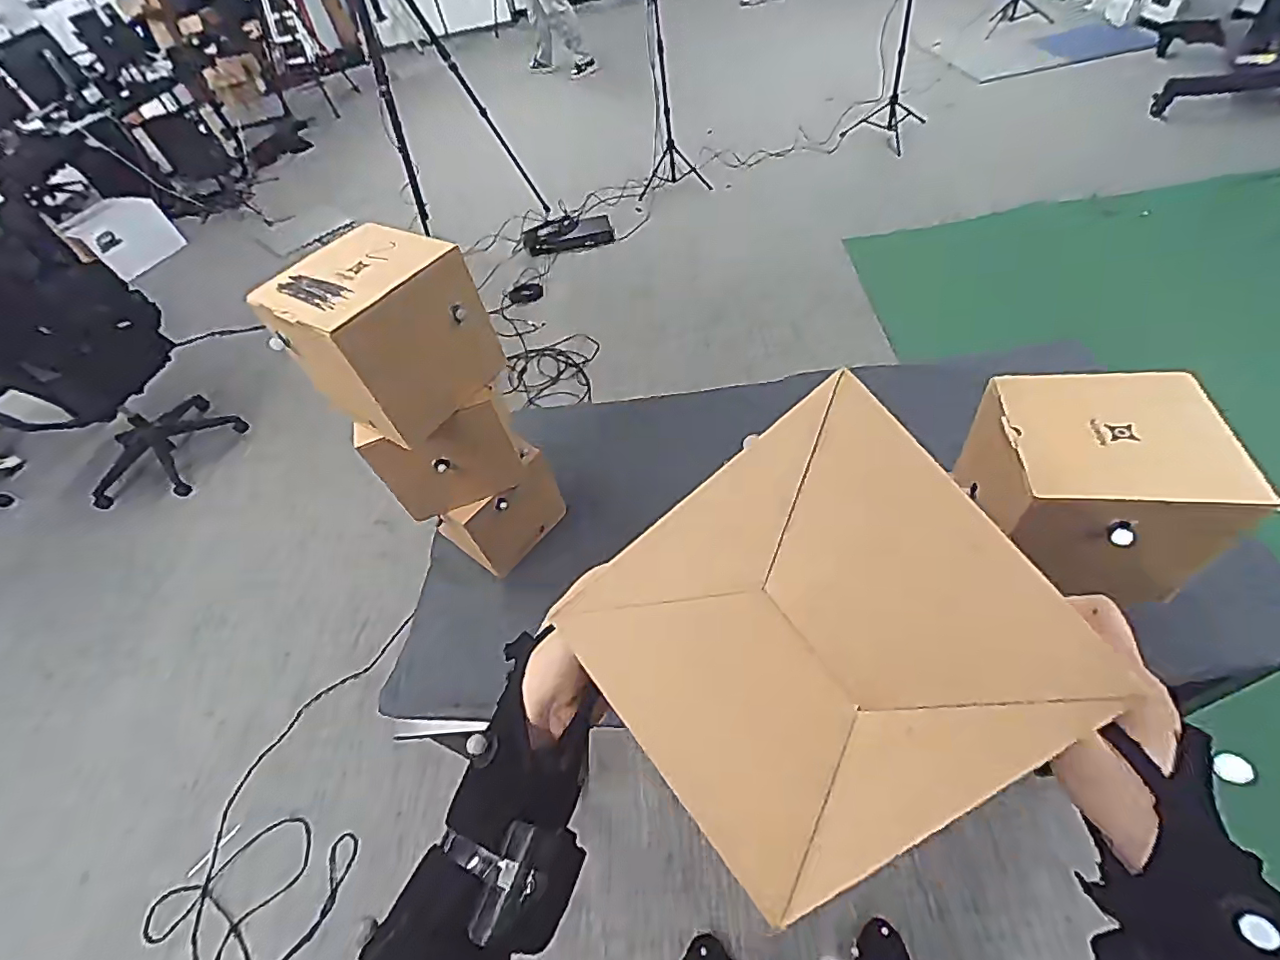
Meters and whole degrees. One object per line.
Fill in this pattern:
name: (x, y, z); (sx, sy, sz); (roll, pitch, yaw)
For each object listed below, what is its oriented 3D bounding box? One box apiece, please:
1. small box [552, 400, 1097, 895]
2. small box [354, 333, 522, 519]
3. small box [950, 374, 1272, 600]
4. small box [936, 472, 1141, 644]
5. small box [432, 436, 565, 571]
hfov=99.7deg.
small box: (0.086, 0.073, 0.303); (0.179, 0.176, 0.168); (-40, 78, 9)
small box: (-0.282, -0.074, 0.780); (0.179, 0.176, 0.168); (-22, 51, -5)
small box: (0.448, 0.010, 0.558); (0.179, 0.176, 0.168); (1, 51, 15)
small box: (0.475, 0.102, 0.690); (0.168, 0.176, 0.179); (-7, 50, 8)
small box: (-0.255, 0.025, 0.909); (0.179, 0.176, 0.168); (28, 62, 29)
